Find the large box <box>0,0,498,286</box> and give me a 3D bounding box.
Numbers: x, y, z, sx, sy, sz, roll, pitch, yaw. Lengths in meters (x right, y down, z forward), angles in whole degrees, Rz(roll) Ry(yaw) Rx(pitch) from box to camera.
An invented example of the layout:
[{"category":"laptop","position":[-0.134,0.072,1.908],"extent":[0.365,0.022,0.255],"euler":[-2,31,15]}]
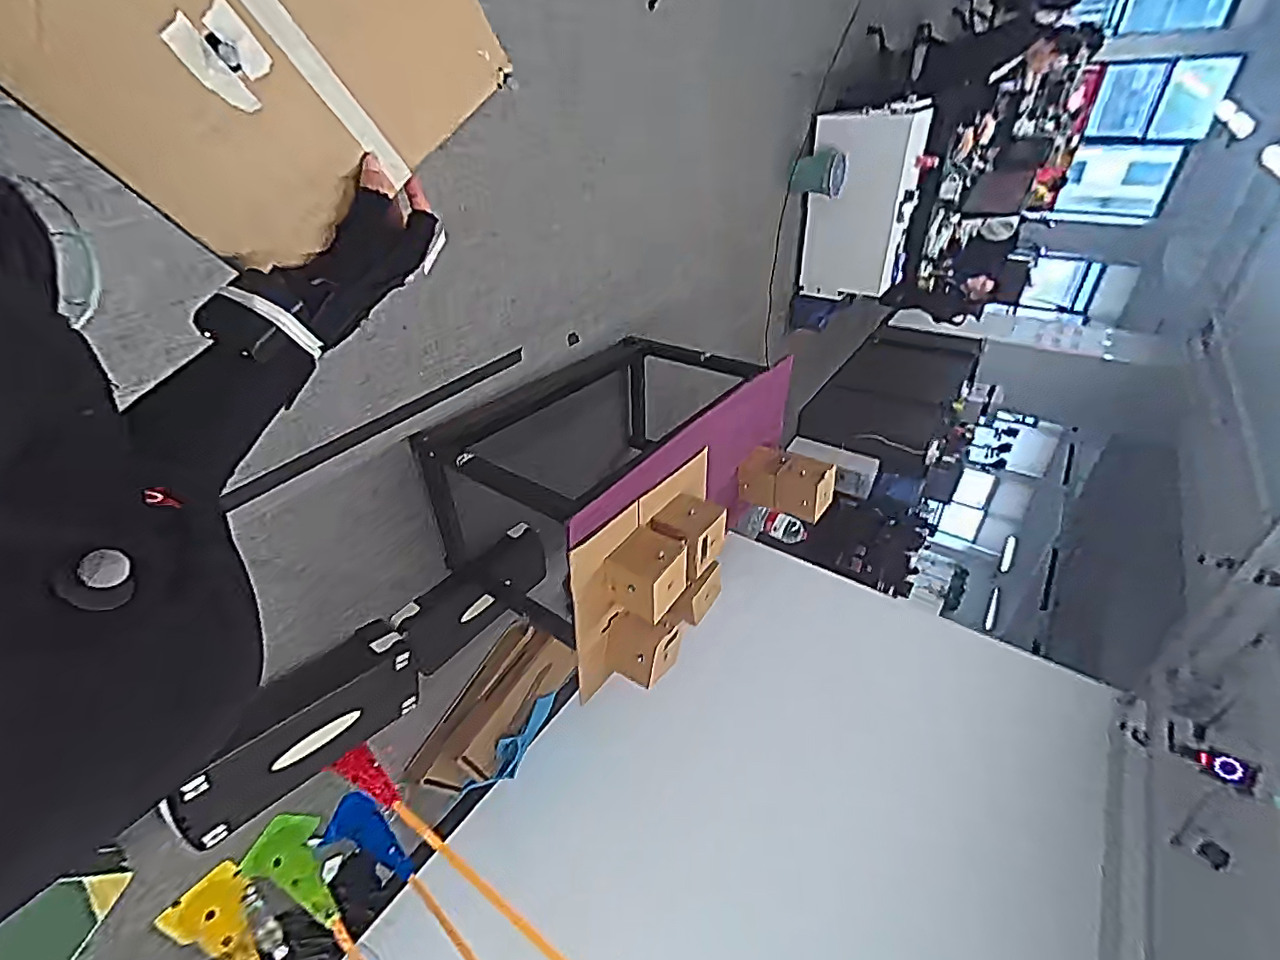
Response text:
[{"category":"large box","position":[-0.402,-0.441,0.415],"extent":[0.320,0.320,0.408],"euler":[-50,149,-7]}]
